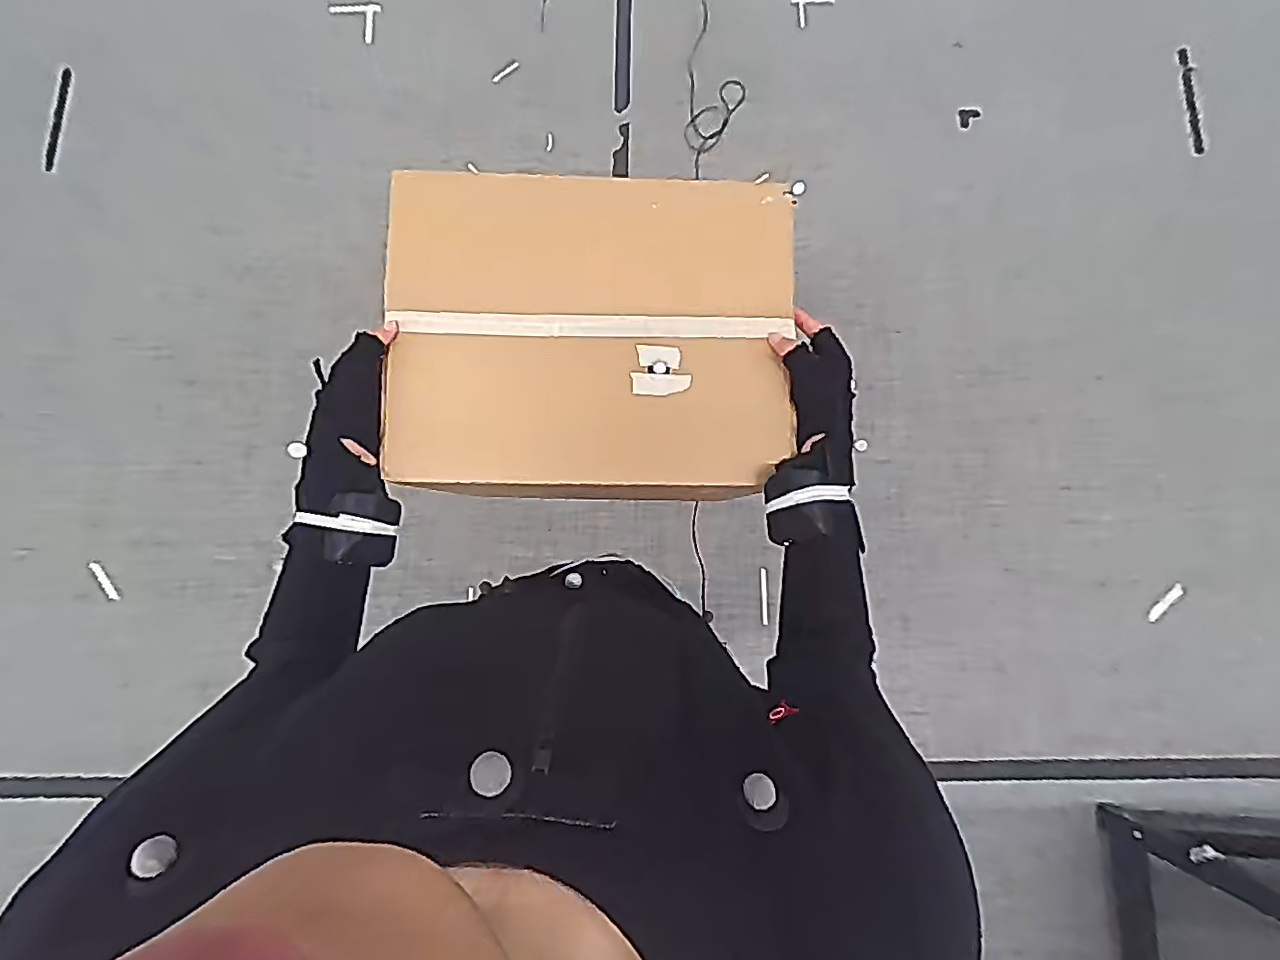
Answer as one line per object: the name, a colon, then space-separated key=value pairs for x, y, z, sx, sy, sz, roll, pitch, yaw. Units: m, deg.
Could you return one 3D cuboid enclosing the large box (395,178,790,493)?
large box: x=-0.053 y=-0.145 z=0.700 sx=0.408 sy=0.320 sz=0.320 roll=1 pitch=86 yaw=-3
